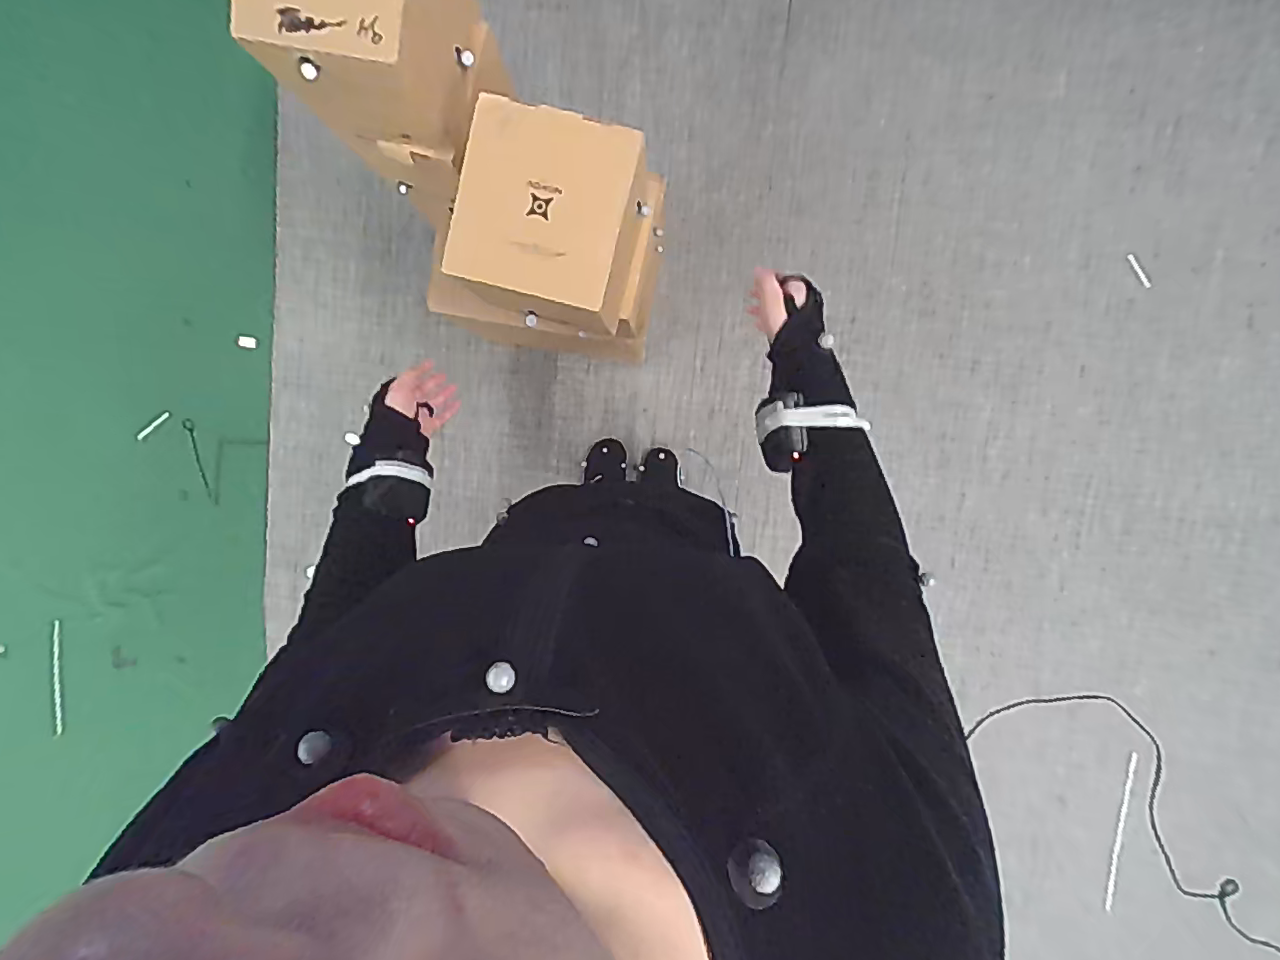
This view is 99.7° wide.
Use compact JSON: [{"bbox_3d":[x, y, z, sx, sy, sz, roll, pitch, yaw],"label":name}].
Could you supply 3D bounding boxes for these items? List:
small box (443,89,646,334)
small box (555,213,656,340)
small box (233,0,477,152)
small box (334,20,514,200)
[{"bbox_3d":[-0.094,-0.280,0.606,0.168,0.176,0.179,15,97,0],"label":"small box"},{"bbox_3d":[-0.063,-0.345,0.927,0.168,0.176,0.179,8,96,1],"label":"small box"},{"bbox_3d":[-0.290,-0.502,0.589,0.168,0.176,0.179,11,95,1],"label":"small box"},{"bbox_3d":[-0.282,-0.510,0.754,0.168,0.176,0.179,18,95,0],"label":"small box"}]
